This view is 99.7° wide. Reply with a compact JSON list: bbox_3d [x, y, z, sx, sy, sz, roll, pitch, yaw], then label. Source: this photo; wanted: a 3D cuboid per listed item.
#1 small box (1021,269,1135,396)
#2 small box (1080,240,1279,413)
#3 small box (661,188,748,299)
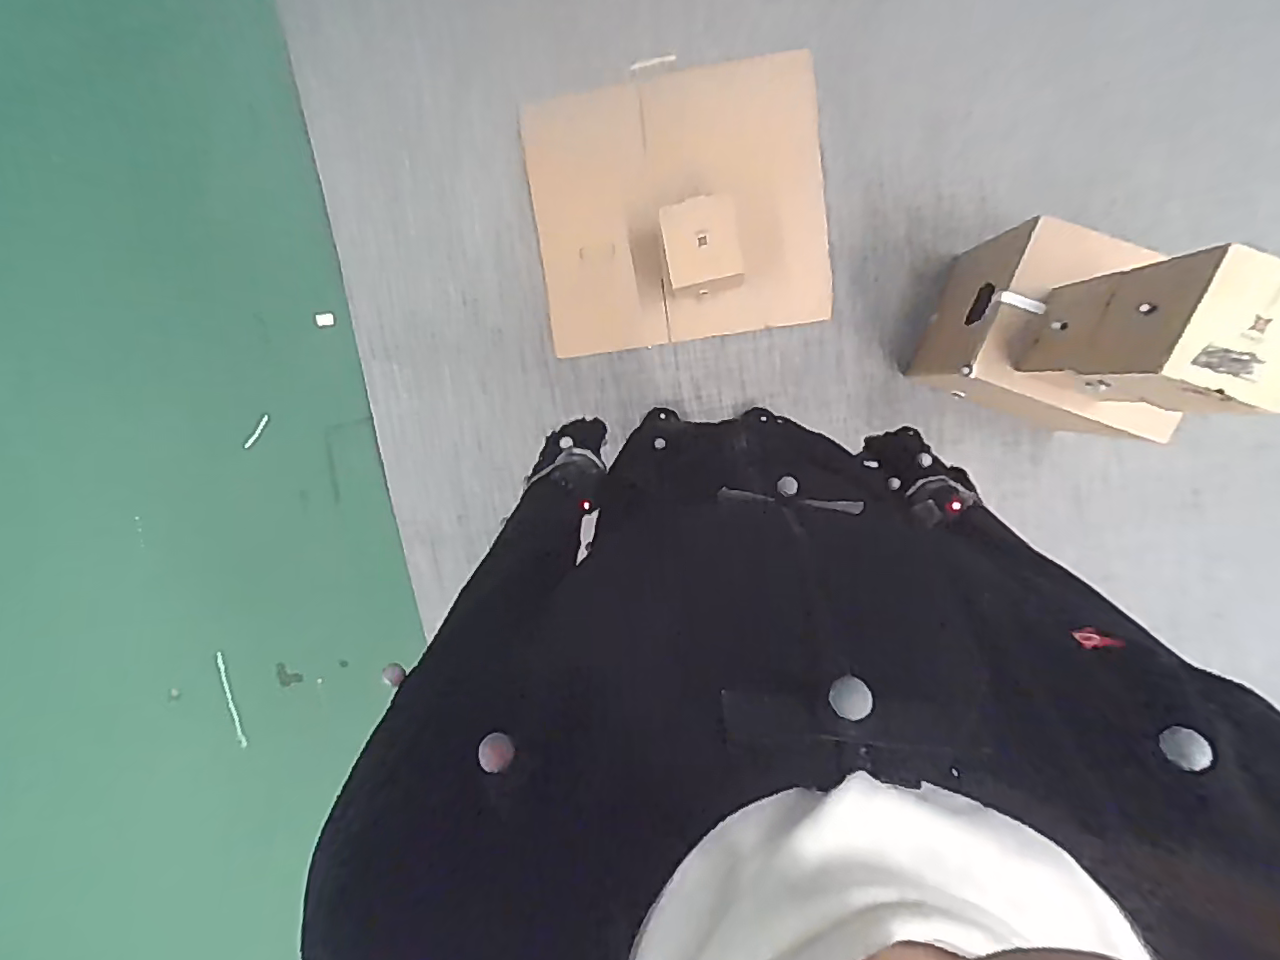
[{"bbox_3d":[0.813,-0.243,0.934,0.179,0.176,0.168,16,99,2],"label":"small box"},{"bbox_3d":[0.789,-0.207,0.771,0.168,0.176,0.179,21,100,1],"label":"small box"},{"bbox_3d":[0.150,-0.533,1.241,0.168,0.176,0.179,-10,99,11],"label":"small box"}]
